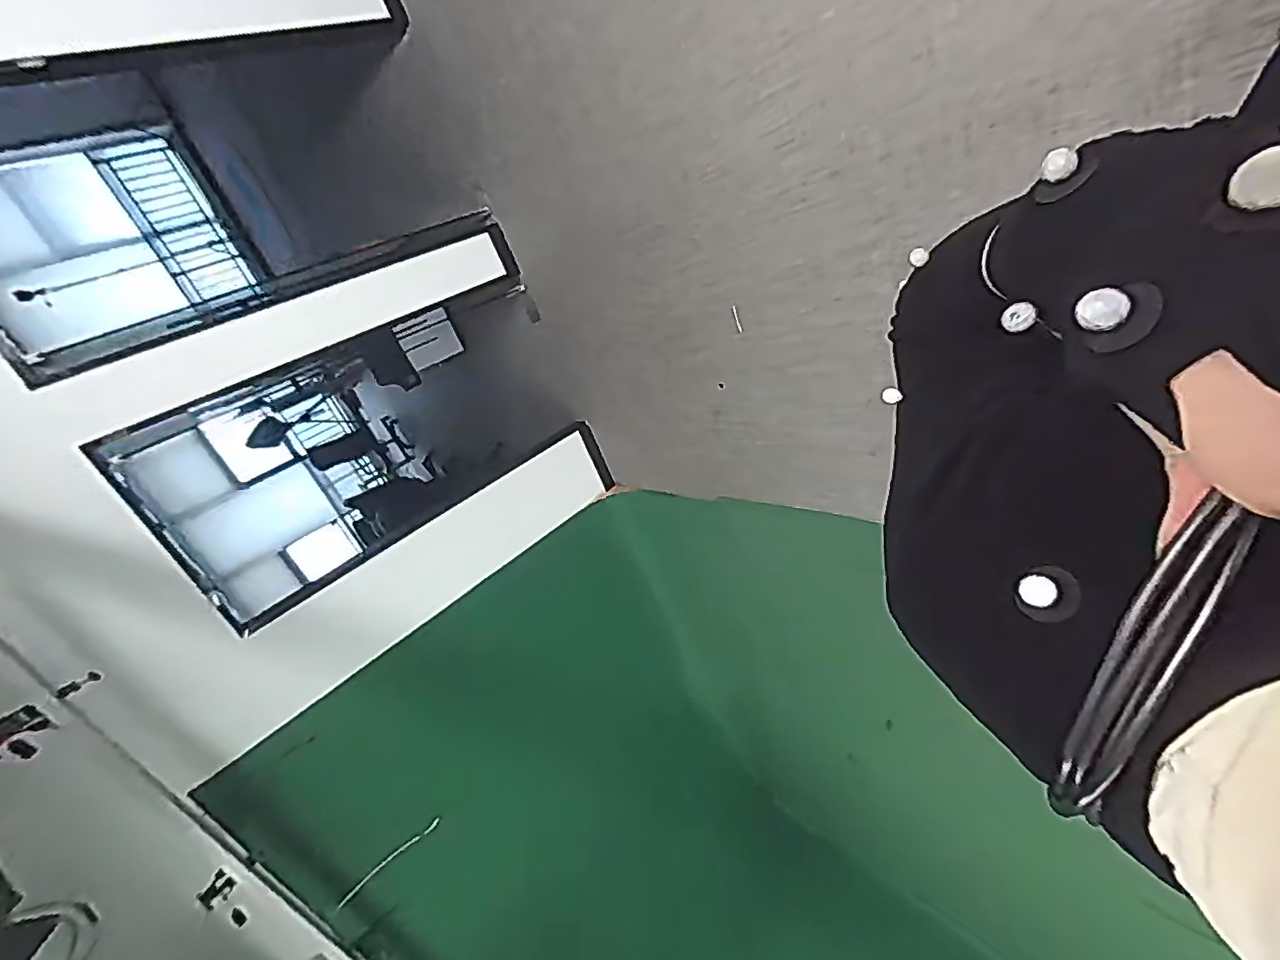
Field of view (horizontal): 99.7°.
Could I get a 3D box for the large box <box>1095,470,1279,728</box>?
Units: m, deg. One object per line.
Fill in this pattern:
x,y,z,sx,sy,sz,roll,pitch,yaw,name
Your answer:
1.199,0.224,1.115,0.320,0.320,0.408,3,124,54,large box
